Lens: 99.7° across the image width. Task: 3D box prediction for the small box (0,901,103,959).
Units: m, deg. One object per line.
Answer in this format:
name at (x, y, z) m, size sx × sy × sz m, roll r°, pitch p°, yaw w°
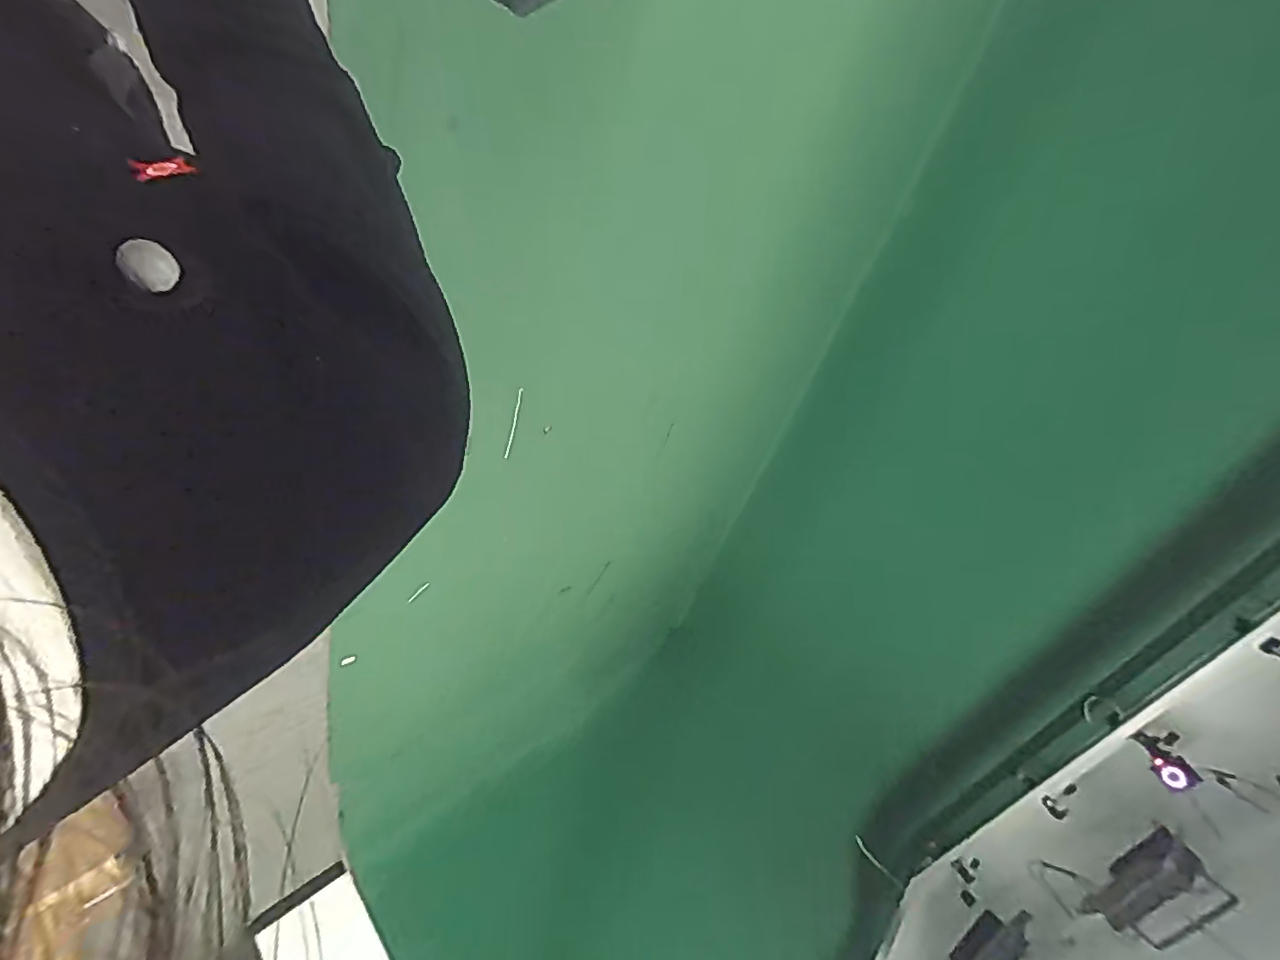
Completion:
small box at (-1.572, 1.273, 1.426) m, size 0.179 × 0.176 × 0.168 m, roll -27°, pitch 144°, yaw -35°
